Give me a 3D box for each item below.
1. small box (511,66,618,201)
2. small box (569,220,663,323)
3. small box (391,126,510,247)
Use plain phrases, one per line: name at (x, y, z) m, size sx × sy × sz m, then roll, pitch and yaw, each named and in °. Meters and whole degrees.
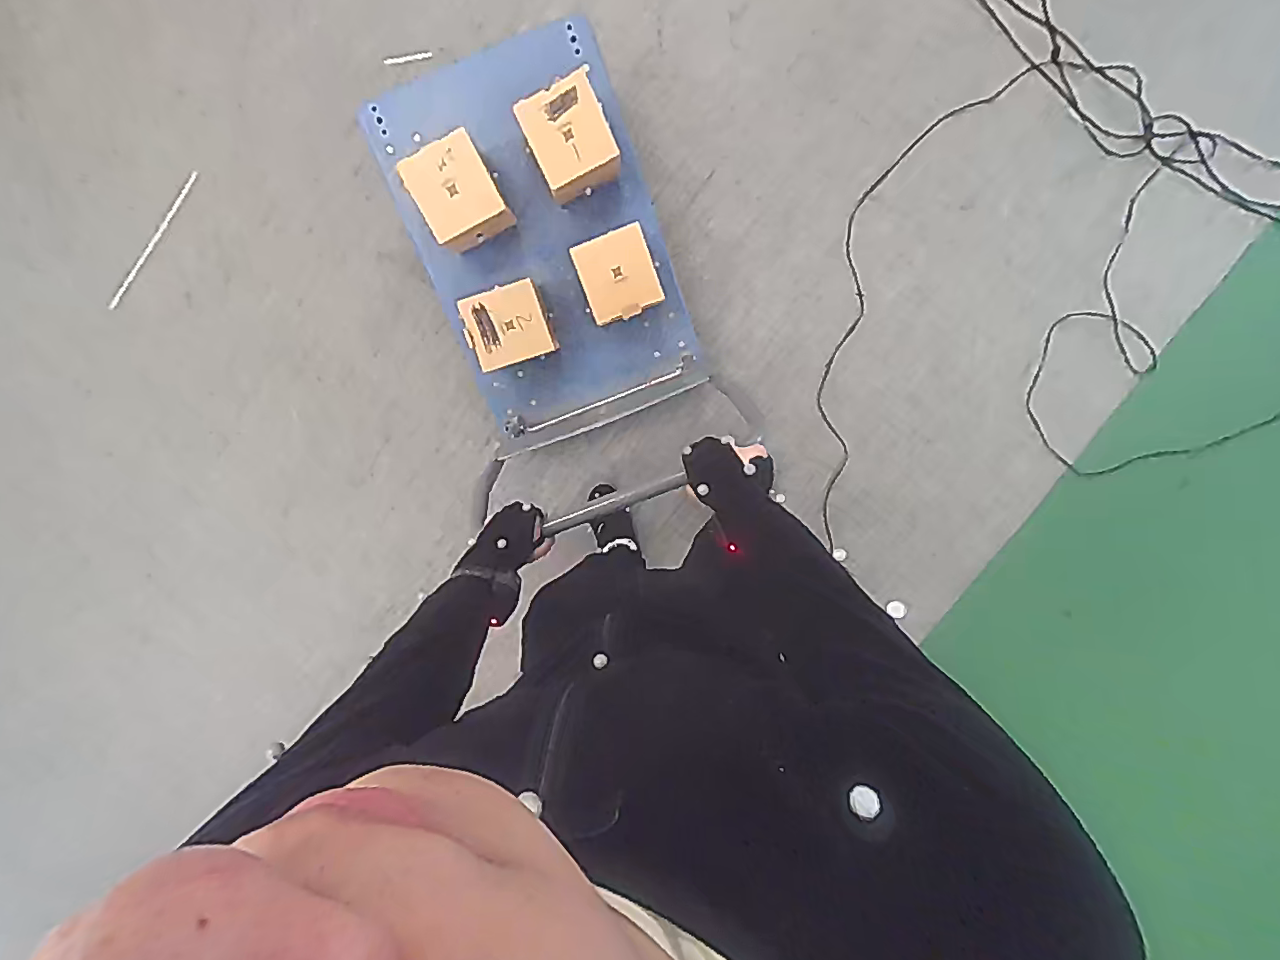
small box at (-0.161, -0.746, 1.188) m, size 0.168 × 0.176 × 0.179 m, roll -26°, pitch 107°, yaw 4°
small box at (-0.059, -0.481, 1.275) m, size 0.168 × 0.176 × 0.179 m, roll -21°, pitch 107°, yaw 2°
small box at (-0.406, -0.636, 1.200) m, size 0.168 × 0.176 × 0.179 m, roll -27°, pitch 107°, yaw 2°
